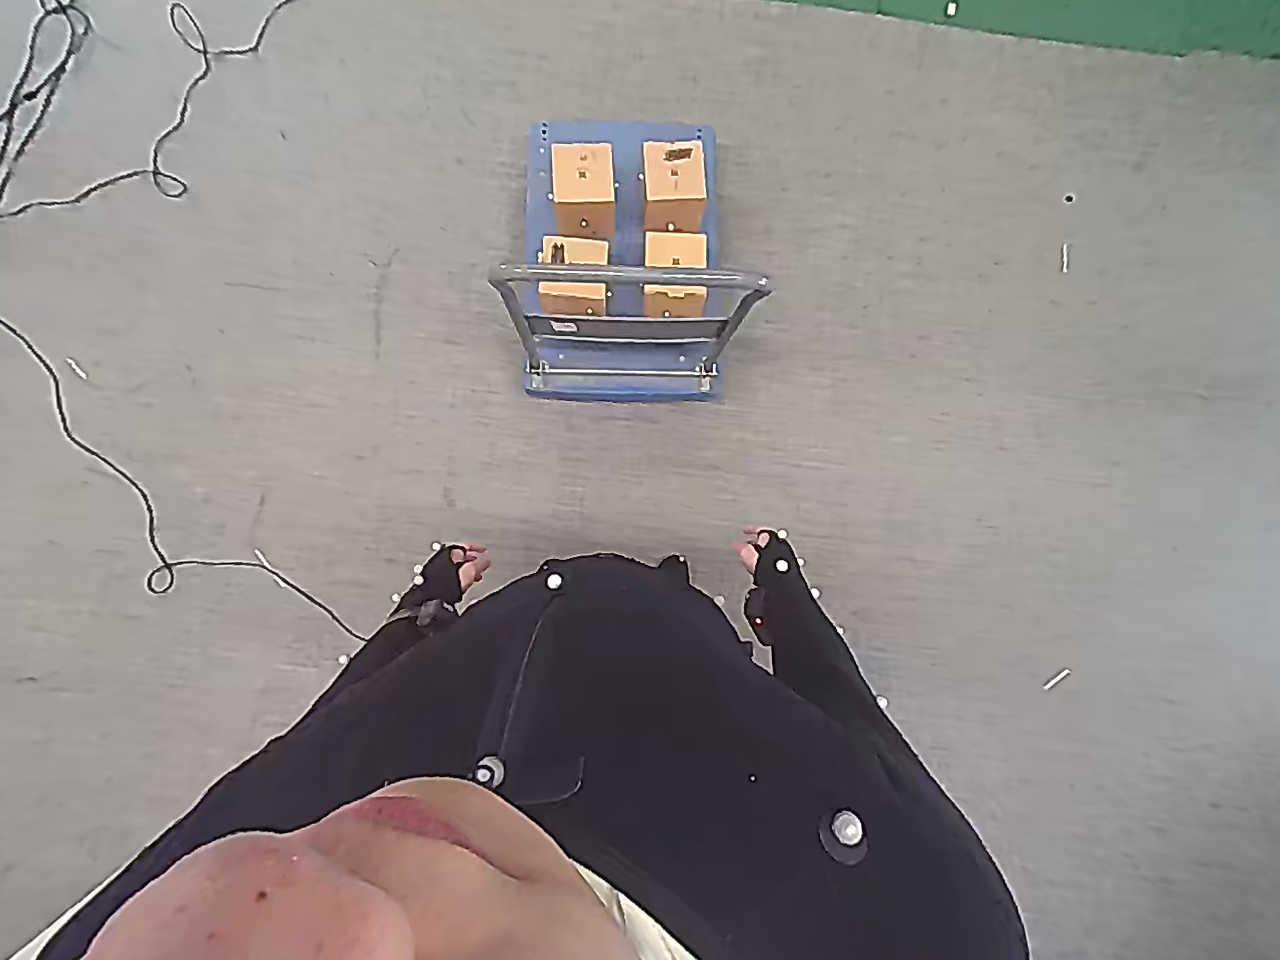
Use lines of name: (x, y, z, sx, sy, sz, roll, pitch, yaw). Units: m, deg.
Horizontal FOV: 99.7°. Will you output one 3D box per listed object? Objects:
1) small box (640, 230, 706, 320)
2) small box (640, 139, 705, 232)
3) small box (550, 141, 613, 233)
small box: (0.088, -0.569, 1.514, 0.168, 0.176, 0.179, 1, 83, -3)
small box: (0.088, -0.838, 1.548, 0.168, 0.176, 0.179, -3, 84, -2)
small box: (-0.163, -0.822, 1.533, 0.168, 0.176, 0.179, -3, 83, -4)
